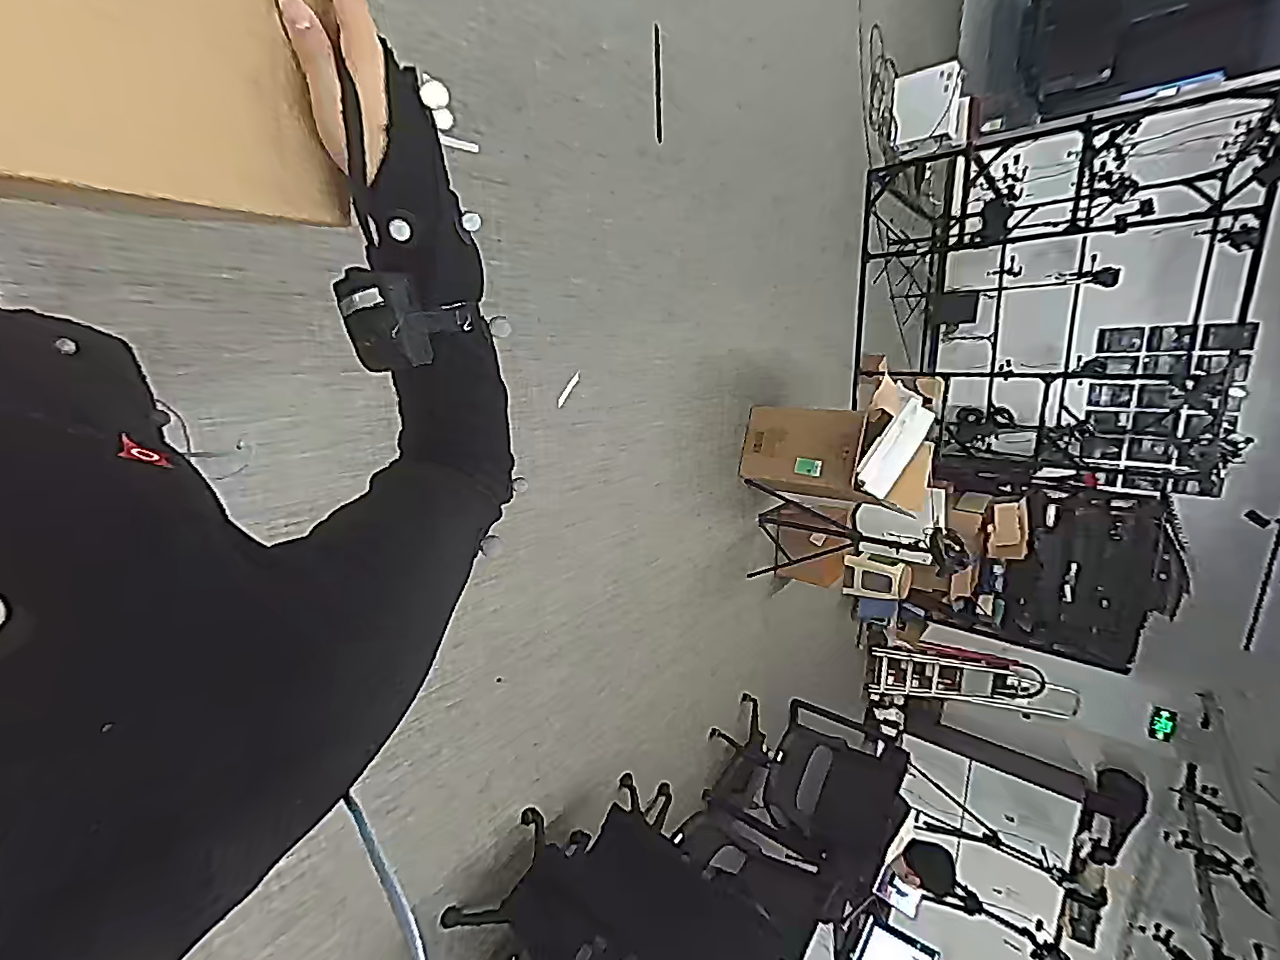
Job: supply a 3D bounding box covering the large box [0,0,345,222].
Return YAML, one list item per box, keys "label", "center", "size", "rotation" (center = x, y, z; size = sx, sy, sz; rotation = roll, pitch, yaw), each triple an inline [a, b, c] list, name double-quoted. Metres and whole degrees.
- label: "large box"
  center: [-0.419, -0.309, 0.235]
  size: [0.408, 0.320, 0.320]
  rotation: [-20, 123, -51]
